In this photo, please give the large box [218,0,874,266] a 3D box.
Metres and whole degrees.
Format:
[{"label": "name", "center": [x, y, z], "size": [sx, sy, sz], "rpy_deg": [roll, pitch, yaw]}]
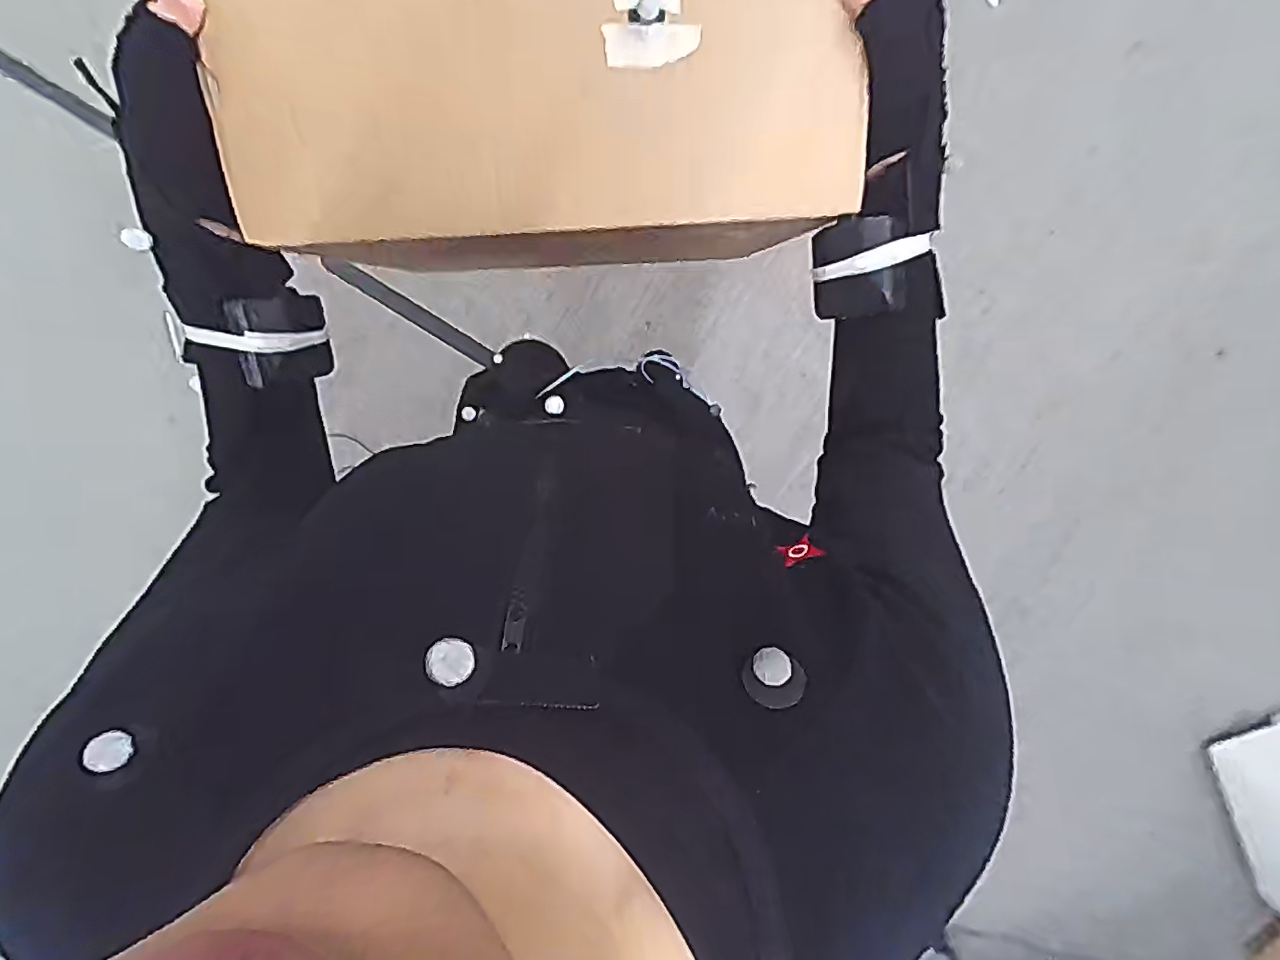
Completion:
[{"label": "large box", "center": [-0.062, -0.367, 0.461], "size": [0.408, 0.320, 0.320], "rpy_deg": [-3, 109, -2]}]
